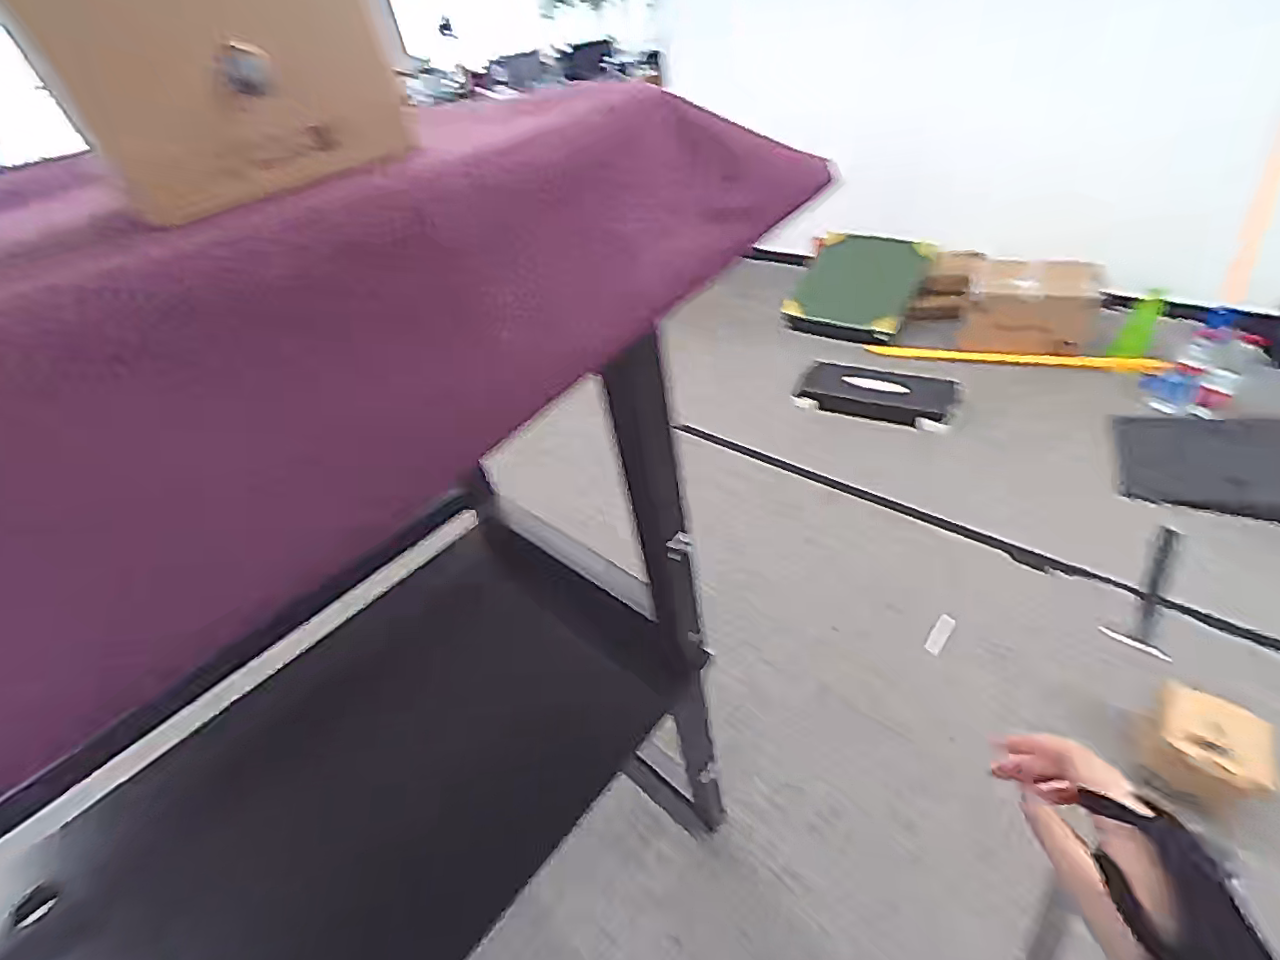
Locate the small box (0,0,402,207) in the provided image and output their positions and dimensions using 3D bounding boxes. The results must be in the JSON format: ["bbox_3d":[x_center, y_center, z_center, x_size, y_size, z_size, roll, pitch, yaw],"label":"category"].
[{"bbox_3d":[-0.280,-0.275,0.320,0.179,0.176,0.168,29,55,37],"label":"small box"}]

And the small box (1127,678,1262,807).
[{"bbox_3d":[1.249,0.598,1.228,0.168,0.176,0.179,21,49,31],"label":"small box"}]
